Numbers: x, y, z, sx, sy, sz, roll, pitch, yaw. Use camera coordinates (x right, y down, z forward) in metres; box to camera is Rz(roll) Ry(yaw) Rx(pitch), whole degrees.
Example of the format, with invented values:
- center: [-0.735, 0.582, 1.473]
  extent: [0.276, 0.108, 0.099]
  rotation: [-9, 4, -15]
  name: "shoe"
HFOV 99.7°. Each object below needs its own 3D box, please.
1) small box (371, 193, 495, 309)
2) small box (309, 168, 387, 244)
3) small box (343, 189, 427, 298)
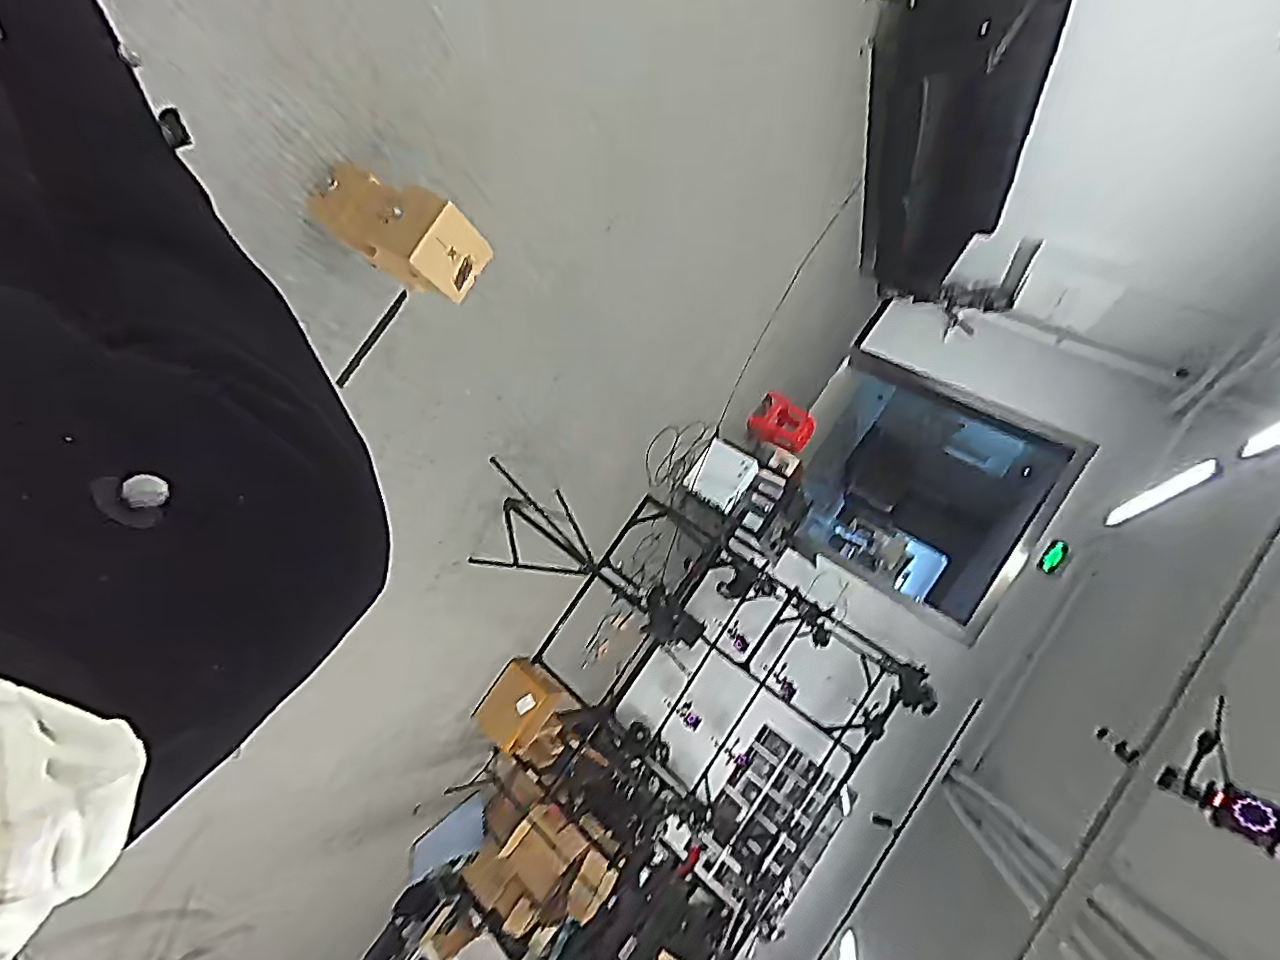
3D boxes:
- center: [-0.493, -0.549, 1.293]
  extent: [0.168, 0.176, 0.179]
  rotation: [-57, 153, -4]
  name: "small box"
- center: [-0.737, -0.699, 1.454]
  extent: [0.168, 0.176, 0.179]
  rotation: [-57, 154, -1]
  name: "small box"
- center: [-0.618, -0.608, 1.385]
  extent: [0.179, 0.176, 0.168]
  rotation: [-58, 154, 0]
  name: "small box"
